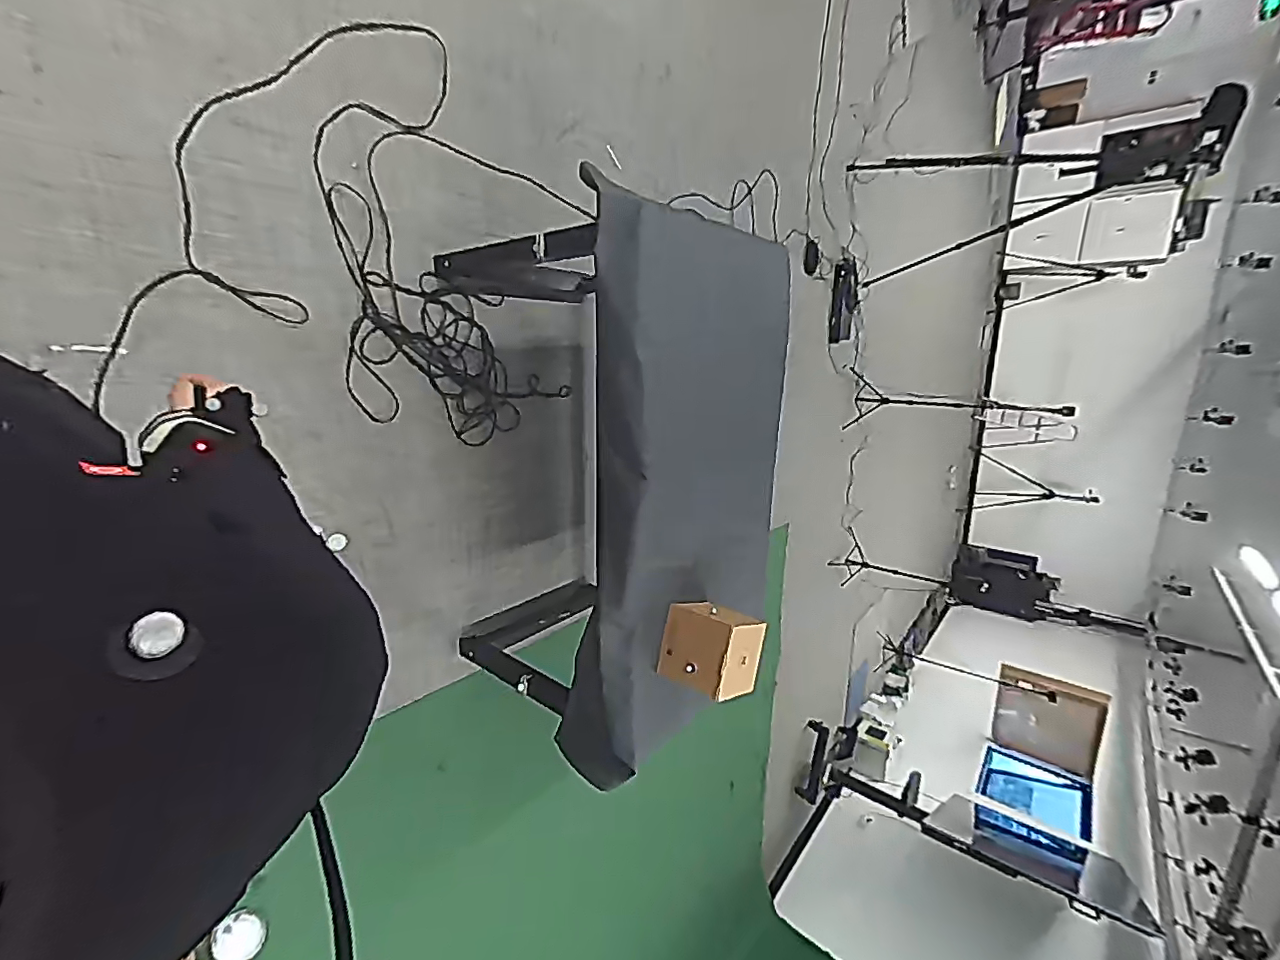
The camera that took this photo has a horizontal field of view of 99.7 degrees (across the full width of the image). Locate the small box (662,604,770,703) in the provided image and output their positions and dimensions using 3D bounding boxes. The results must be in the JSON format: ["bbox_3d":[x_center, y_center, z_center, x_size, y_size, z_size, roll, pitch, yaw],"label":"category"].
[{"bbox_3d":[0.173,0.389,1.244,0.179,0.176,0.168,14,88,-53],"label":"small box"}]
